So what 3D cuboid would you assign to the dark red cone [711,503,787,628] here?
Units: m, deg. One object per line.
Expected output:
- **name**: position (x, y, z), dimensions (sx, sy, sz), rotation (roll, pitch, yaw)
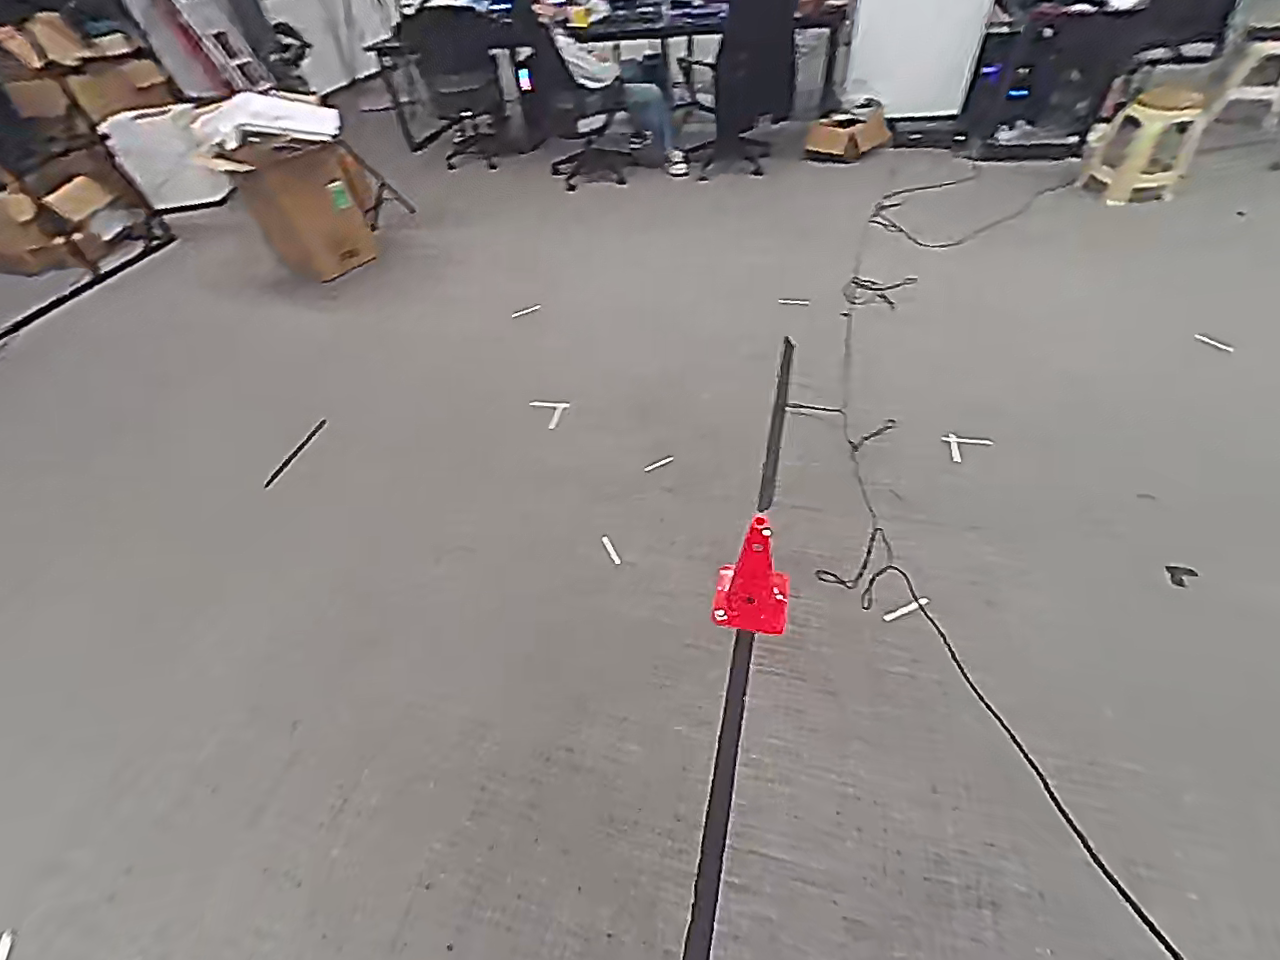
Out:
- **dark red cone**: position (0.297, 0.202, 1.398), dimensions (0.201, 0.394, 0.202), rotation (7, 48, 12)
